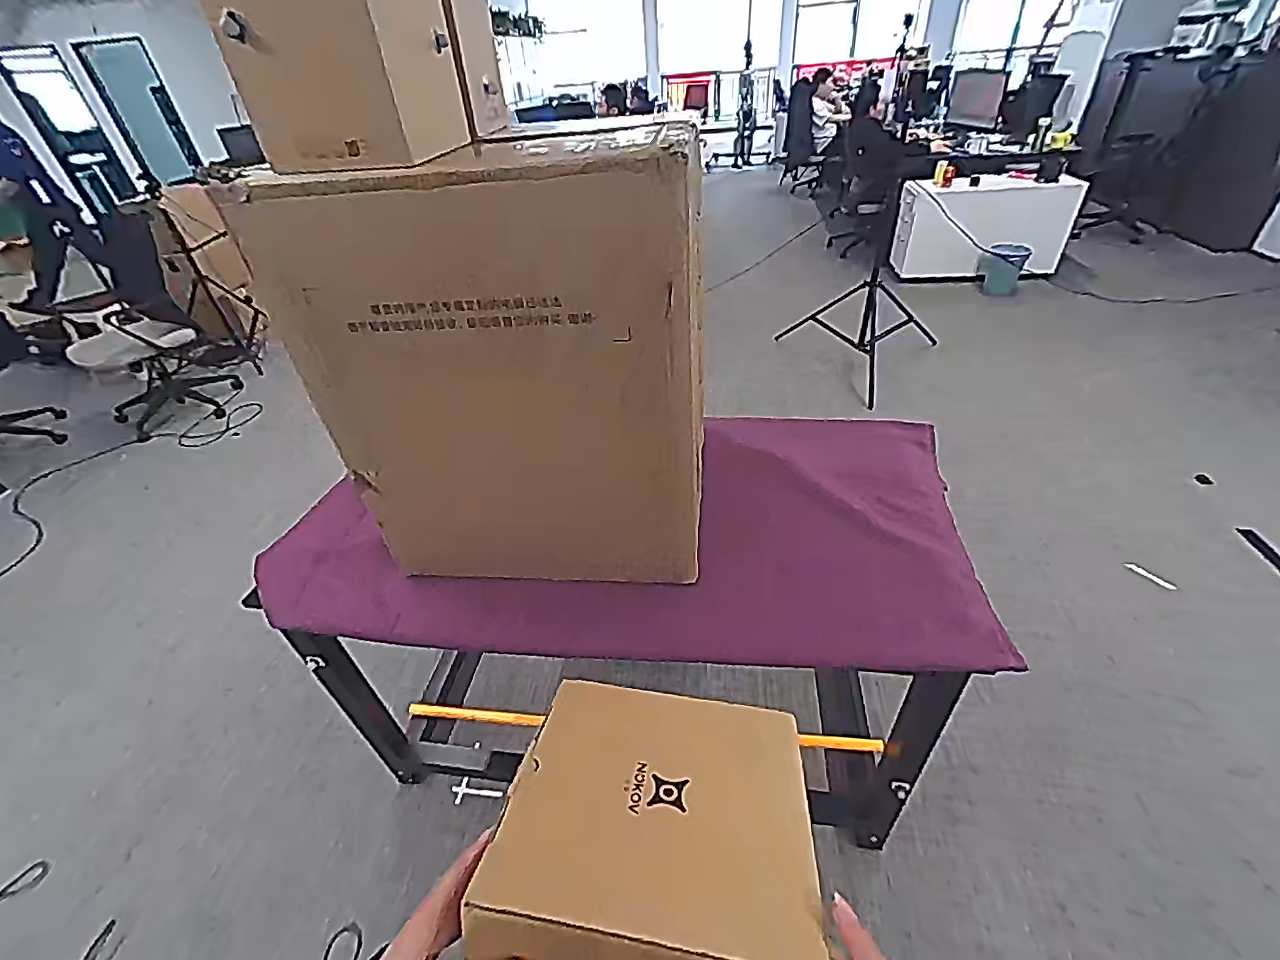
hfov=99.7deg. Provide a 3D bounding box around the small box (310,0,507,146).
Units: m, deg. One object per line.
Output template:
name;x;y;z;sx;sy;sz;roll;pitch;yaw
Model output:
small box;-0.298;-0.560;0.729;0.179;0.176;0.168;0;38;5

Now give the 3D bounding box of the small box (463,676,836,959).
small box;0.010;0.257;0.345;0.179;0.176;0.168;5;19;8
